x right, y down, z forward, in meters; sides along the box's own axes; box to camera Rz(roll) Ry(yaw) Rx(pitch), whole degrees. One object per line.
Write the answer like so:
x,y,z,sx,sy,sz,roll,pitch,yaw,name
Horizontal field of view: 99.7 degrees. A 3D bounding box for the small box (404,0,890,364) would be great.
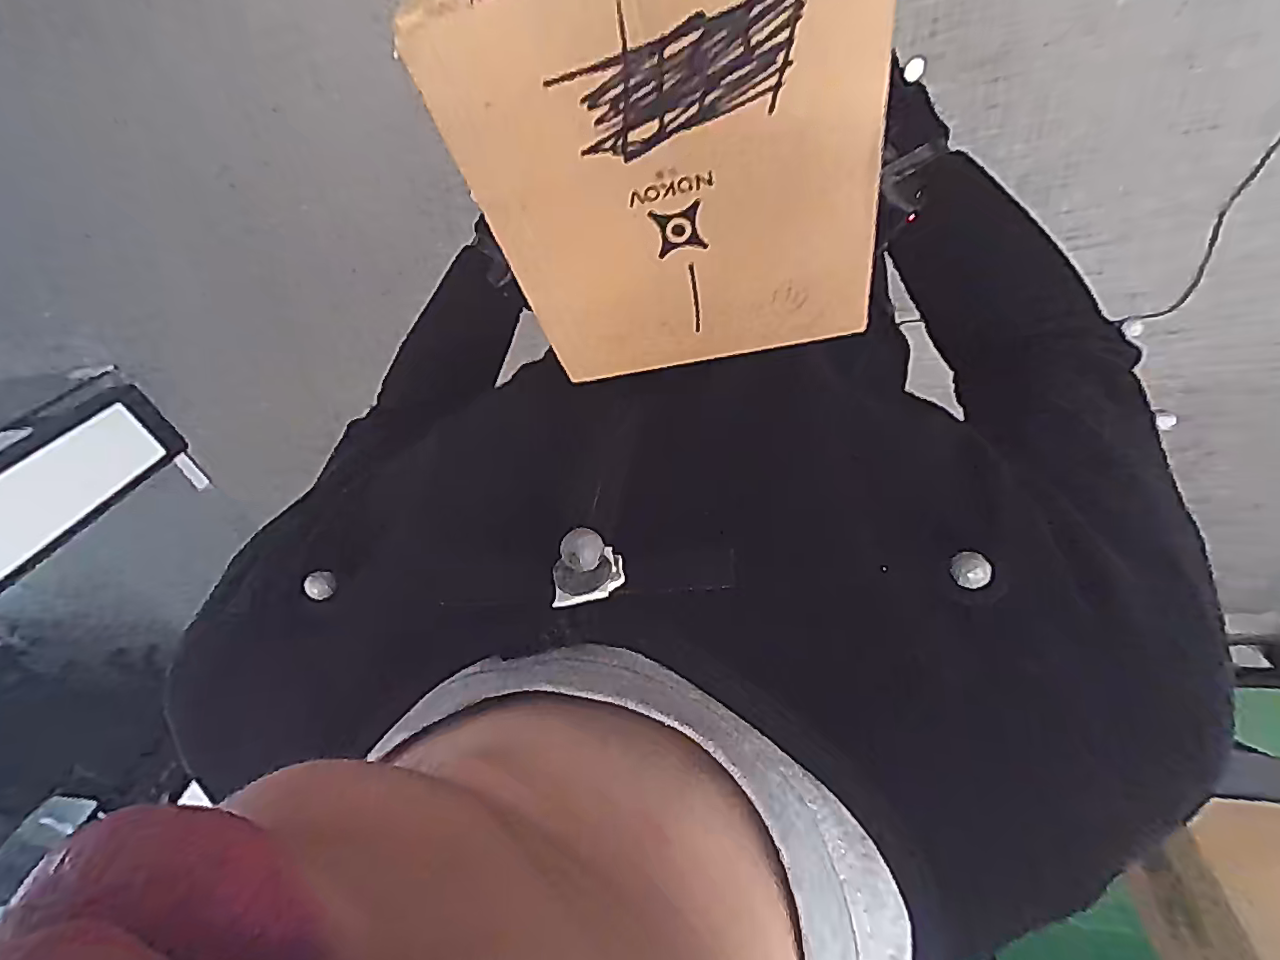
0.018,-0.192,0.278,0.168,0.176,0.179,-7,143,14,small box
